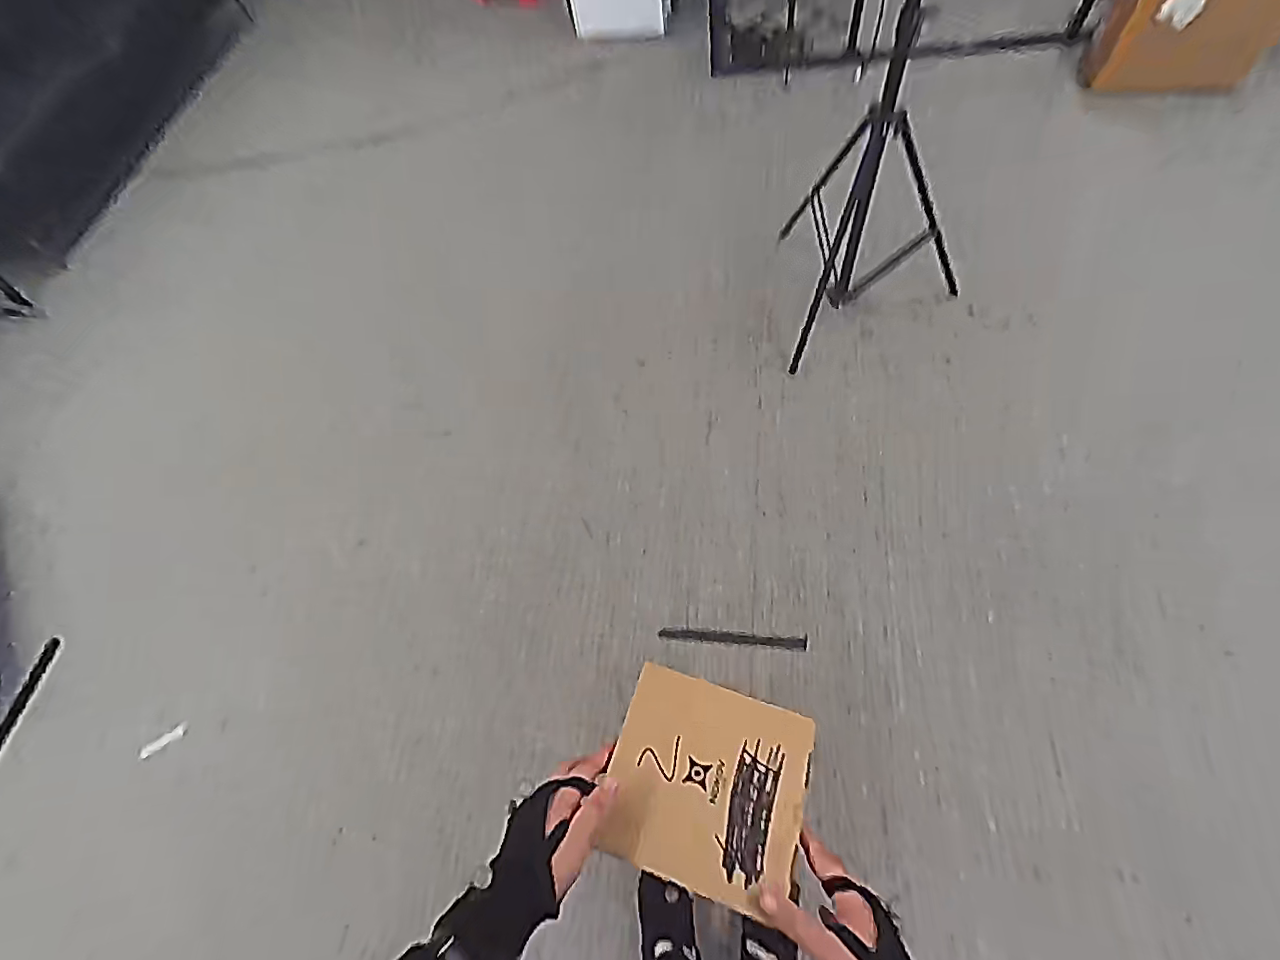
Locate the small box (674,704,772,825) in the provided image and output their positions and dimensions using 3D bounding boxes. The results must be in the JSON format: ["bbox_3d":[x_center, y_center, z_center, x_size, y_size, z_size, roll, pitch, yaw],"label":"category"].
[{"bbox_3d":[0.156,0.524,1.008,0.168,0.176,0.179,0,64,10],"label":"small box"}]
